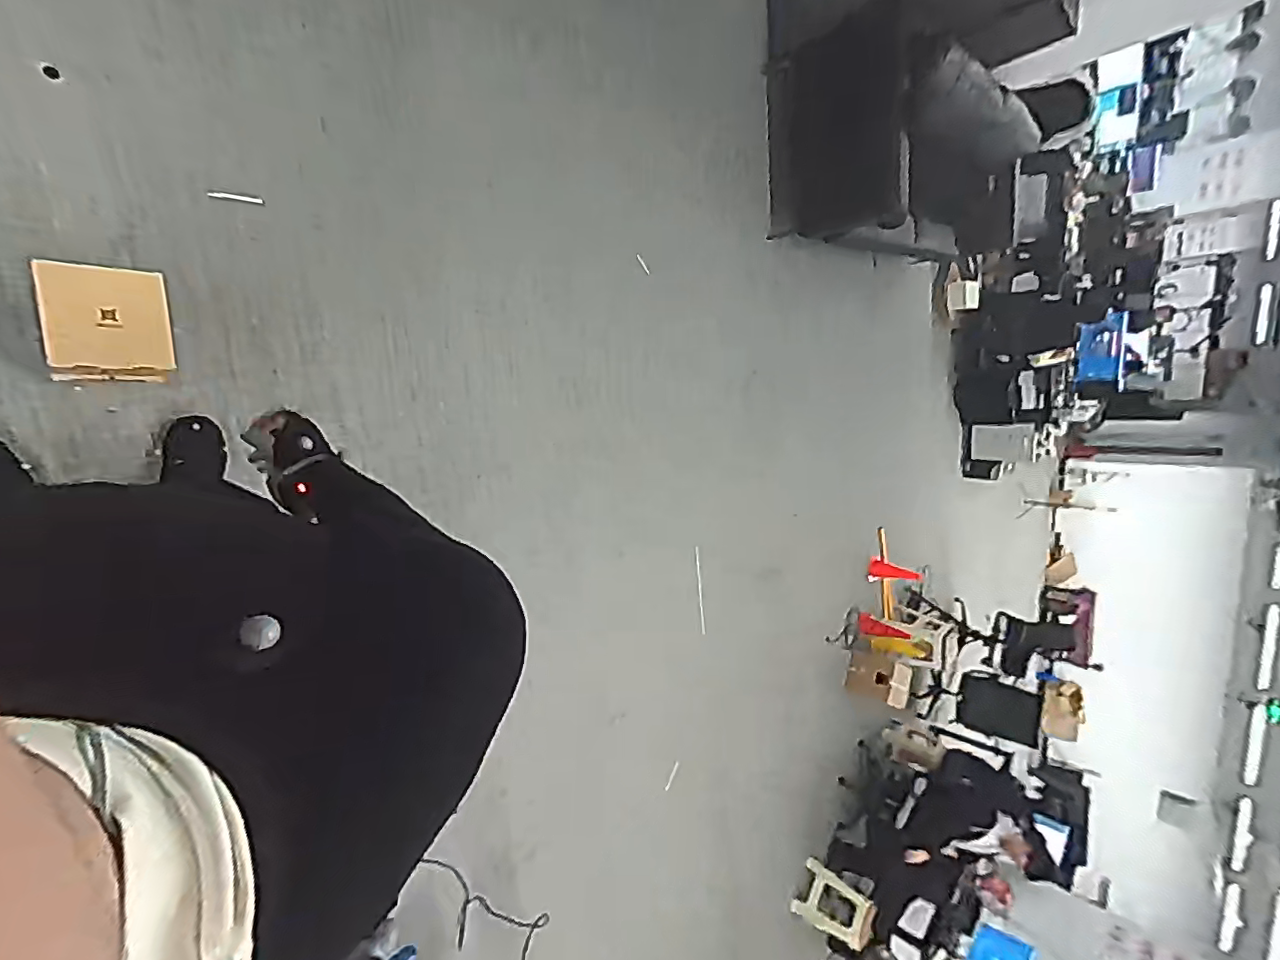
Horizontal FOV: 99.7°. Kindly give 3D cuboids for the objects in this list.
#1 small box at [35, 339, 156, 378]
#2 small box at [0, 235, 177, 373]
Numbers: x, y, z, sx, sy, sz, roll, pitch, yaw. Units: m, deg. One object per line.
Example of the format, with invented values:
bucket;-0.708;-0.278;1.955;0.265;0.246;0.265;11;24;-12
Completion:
small box;-1.110;-0.300;1.102;0.168;0.176;0.179;-9;100;-45
small box;-1.001;-0.307;0.990;0.179;0.176;0.168;34;73;-42
